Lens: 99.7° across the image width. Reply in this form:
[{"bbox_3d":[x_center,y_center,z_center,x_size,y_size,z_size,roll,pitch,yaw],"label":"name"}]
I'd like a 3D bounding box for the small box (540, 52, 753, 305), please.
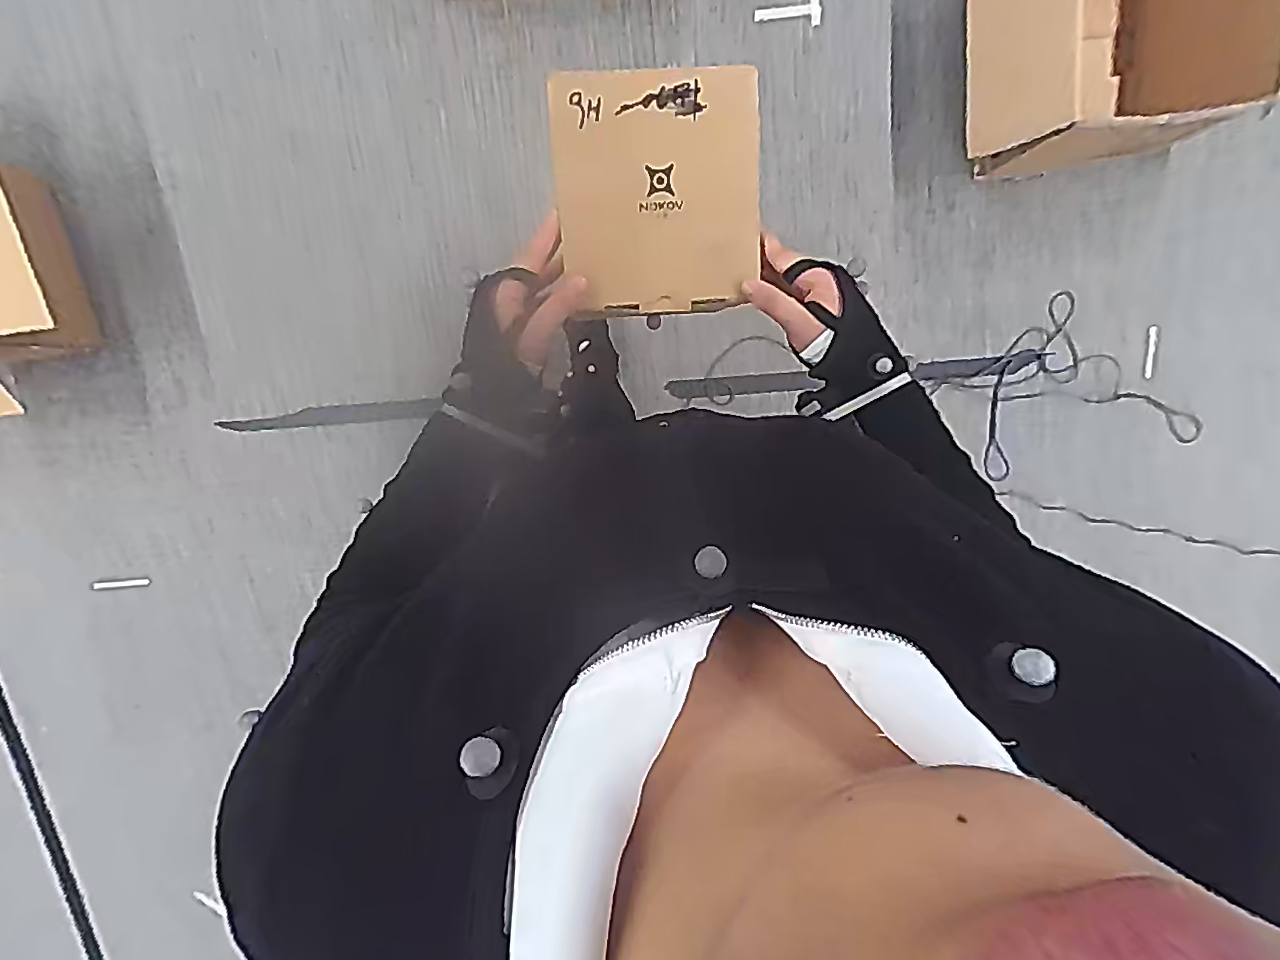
[{"bbox_3d":[0.004,-0.260,0.509,0.168,0.176,0.179,-5,106,-4],"label":"small box"}]
